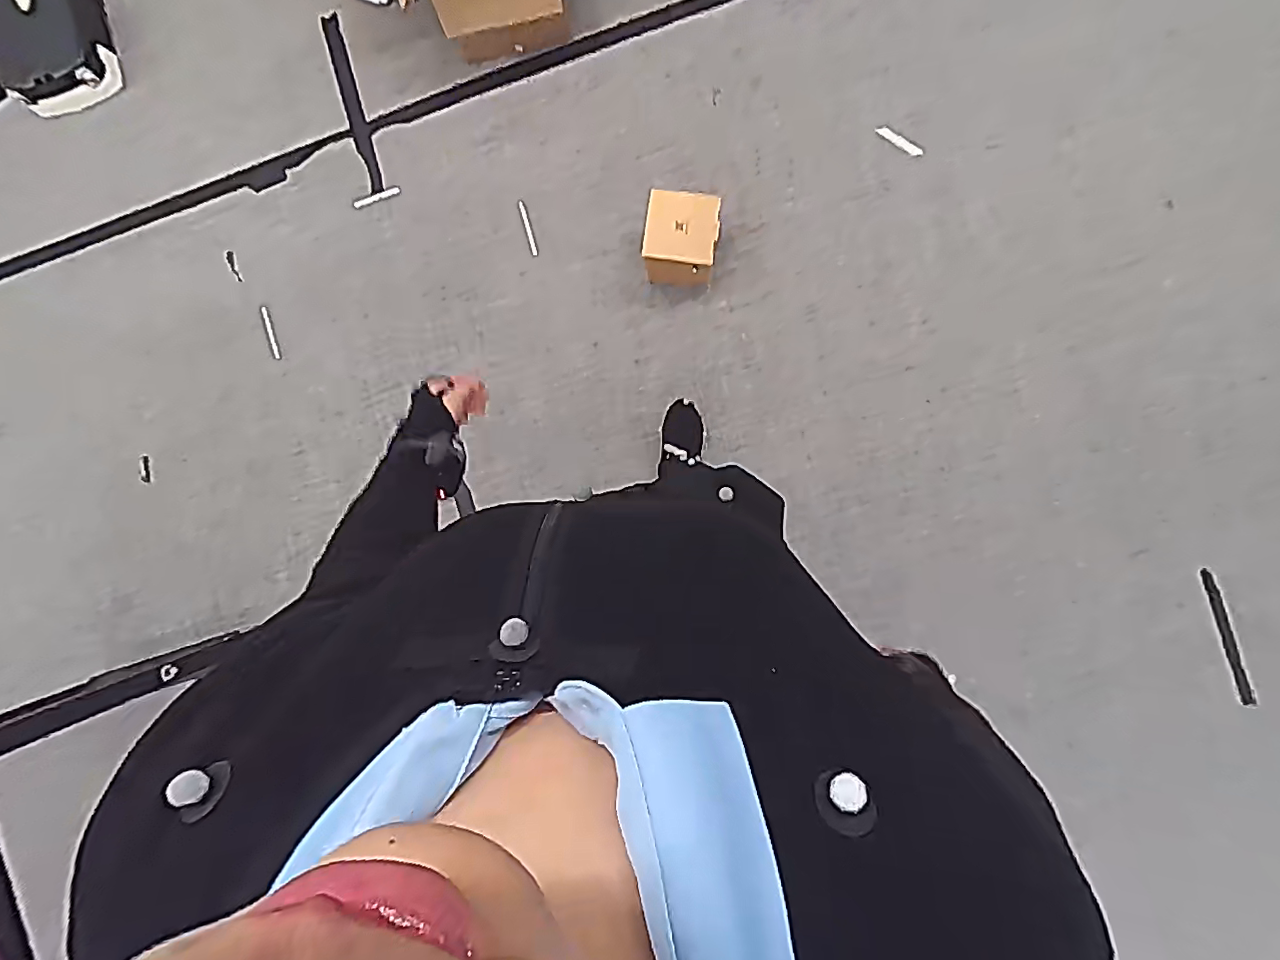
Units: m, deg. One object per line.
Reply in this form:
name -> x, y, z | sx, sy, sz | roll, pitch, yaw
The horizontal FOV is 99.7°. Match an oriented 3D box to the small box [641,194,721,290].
small box -> 0.105, -0.604, 1.390 | 0.179, 0.176, 0.168 | 9, 91, 3
